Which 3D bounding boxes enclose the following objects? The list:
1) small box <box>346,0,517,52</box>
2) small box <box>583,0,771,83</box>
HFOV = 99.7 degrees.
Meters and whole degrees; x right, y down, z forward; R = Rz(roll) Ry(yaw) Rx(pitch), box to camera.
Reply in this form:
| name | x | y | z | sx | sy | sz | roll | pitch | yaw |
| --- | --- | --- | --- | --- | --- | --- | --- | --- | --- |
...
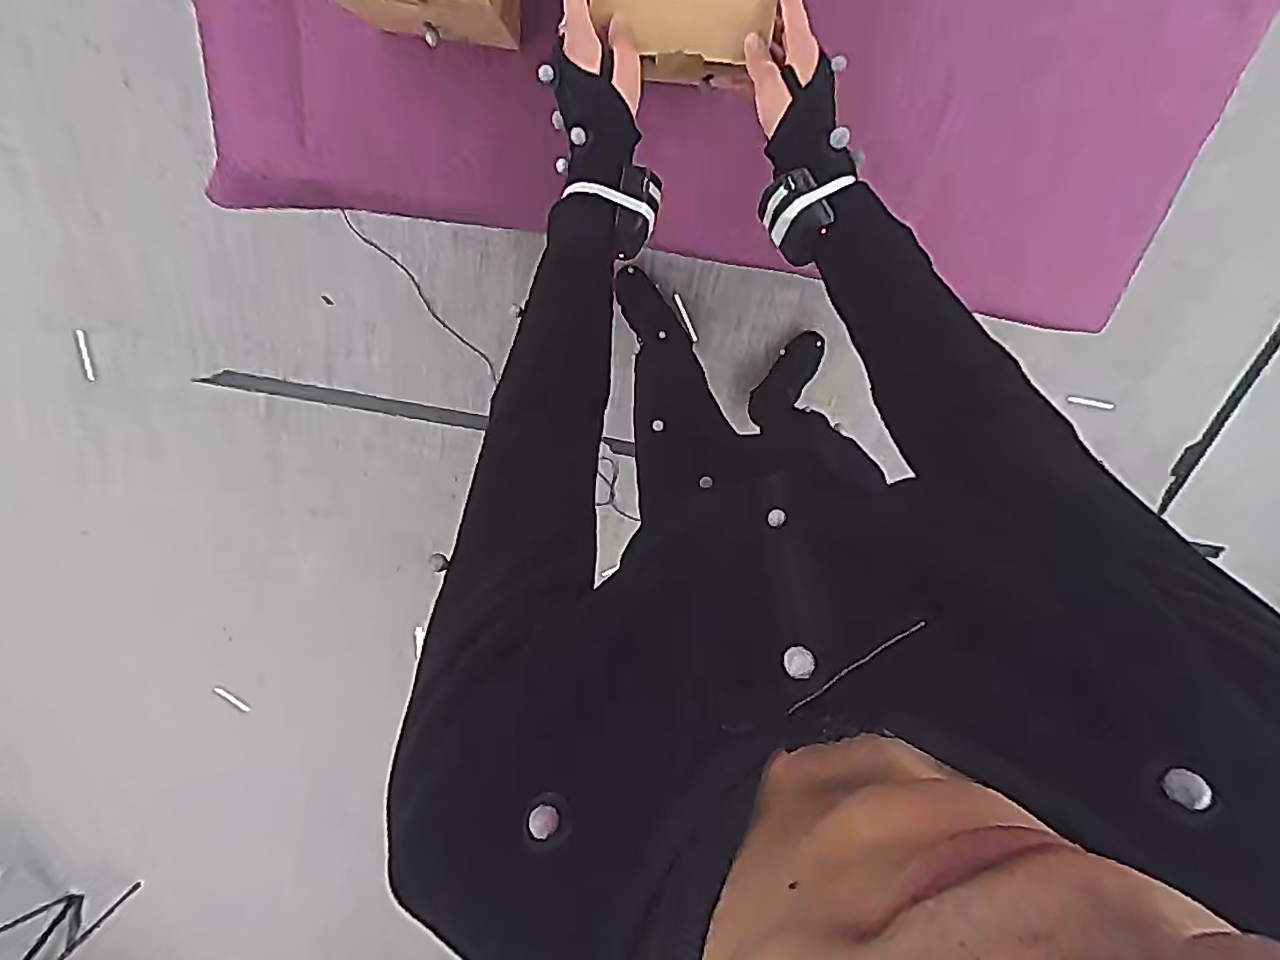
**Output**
| name | x | y | z | sx | sy | sz | roll | pitch | yaw |
| --- | --- | --- | --- | --- | --- | --- | --- | --- | --- |
| small box | -0.210 | -0.541 | 0.506 | 0.168 | 0.176 | 0.179 | 5 | 117 | -5 |
| small box | 0.036 | -0.497 | 0.515 | 0.168 | 0.176 | 0.179 | 3 | 121 | -4 |
